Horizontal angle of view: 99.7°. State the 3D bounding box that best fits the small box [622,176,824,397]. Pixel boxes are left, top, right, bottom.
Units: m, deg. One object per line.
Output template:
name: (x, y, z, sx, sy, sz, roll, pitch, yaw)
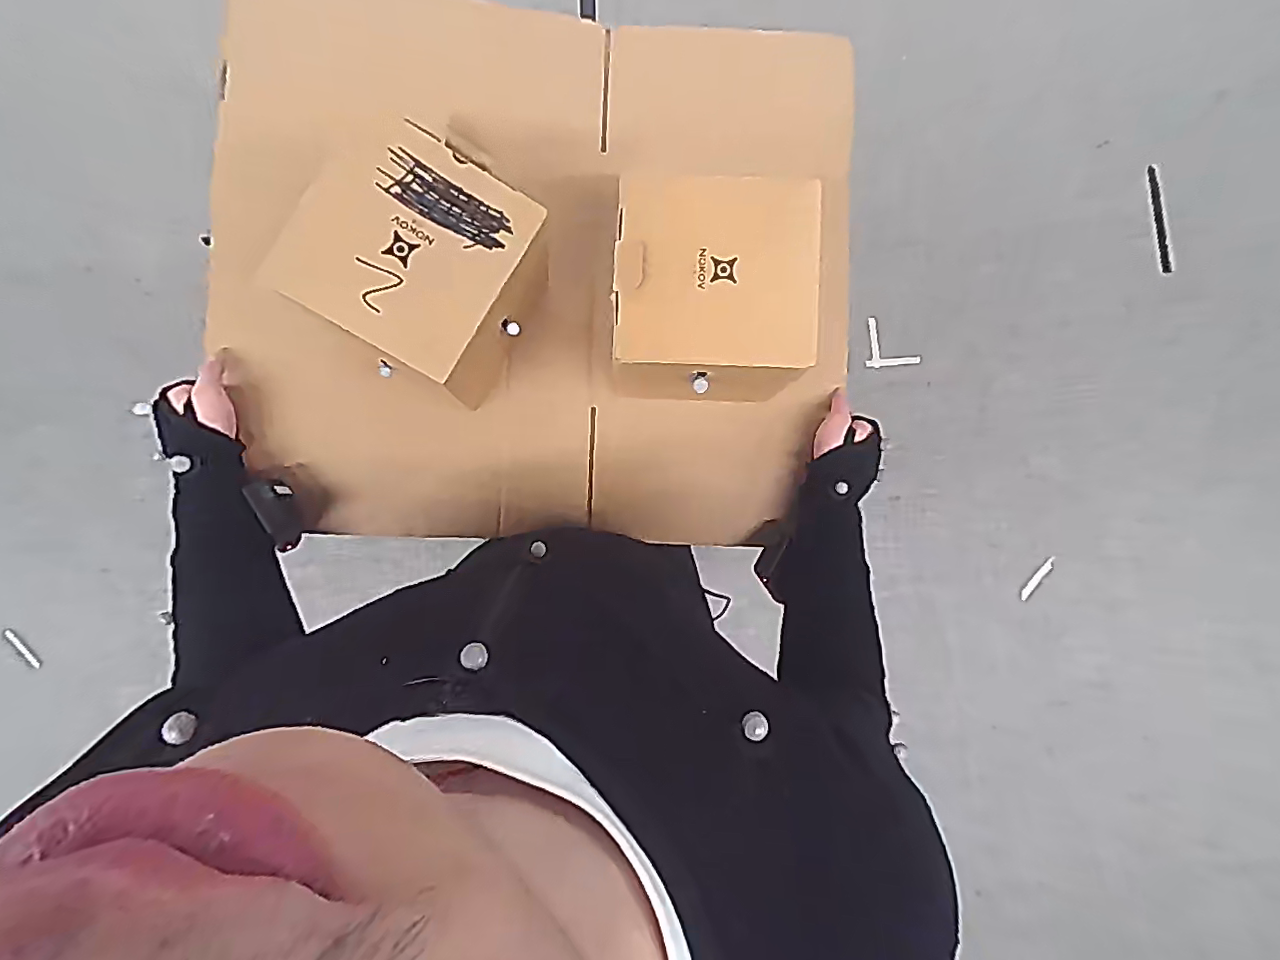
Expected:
small box: (0.074, -0.183, 0.559, 0.179, 0.176, 0.168, 2, 88, 0)
